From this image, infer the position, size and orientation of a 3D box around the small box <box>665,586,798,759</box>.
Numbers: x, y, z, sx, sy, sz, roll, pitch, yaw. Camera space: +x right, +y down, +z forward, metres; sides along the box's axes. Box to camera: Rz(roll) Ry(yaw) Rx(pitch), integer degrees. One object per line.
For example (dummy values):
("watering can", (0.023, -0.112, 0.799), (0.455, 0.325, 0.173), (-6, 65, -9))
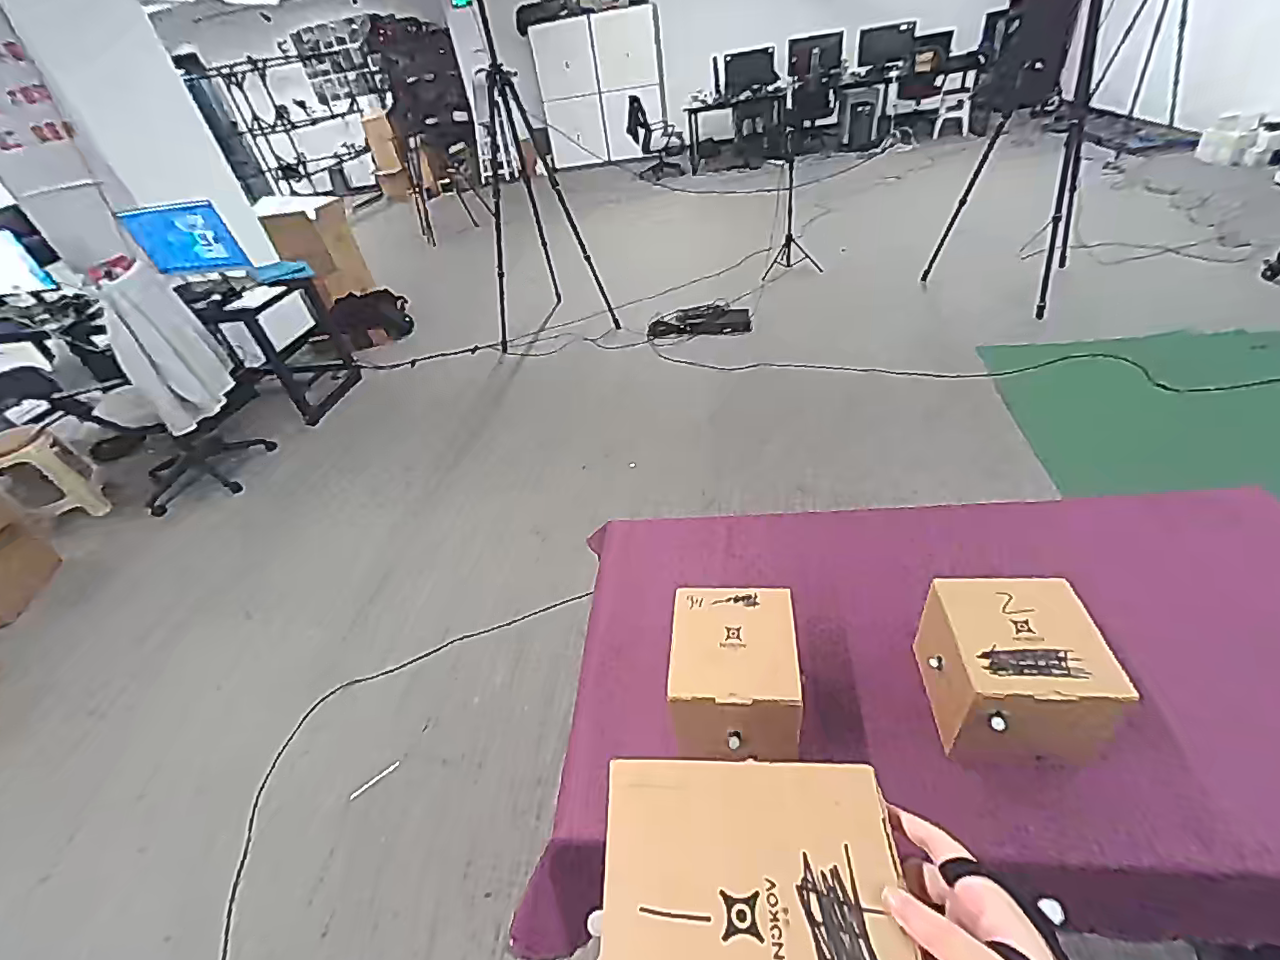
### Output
("small box", (0.133, 0.274, 0.771), (0.168, 0.176, 0.179), (0, 41, 11))

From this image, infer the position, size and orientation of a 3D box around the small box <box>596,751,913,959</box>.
("small box", (0.063, 0.300, 0.365), (0.179, 0.176, 0.168), (1, 46, 2))
